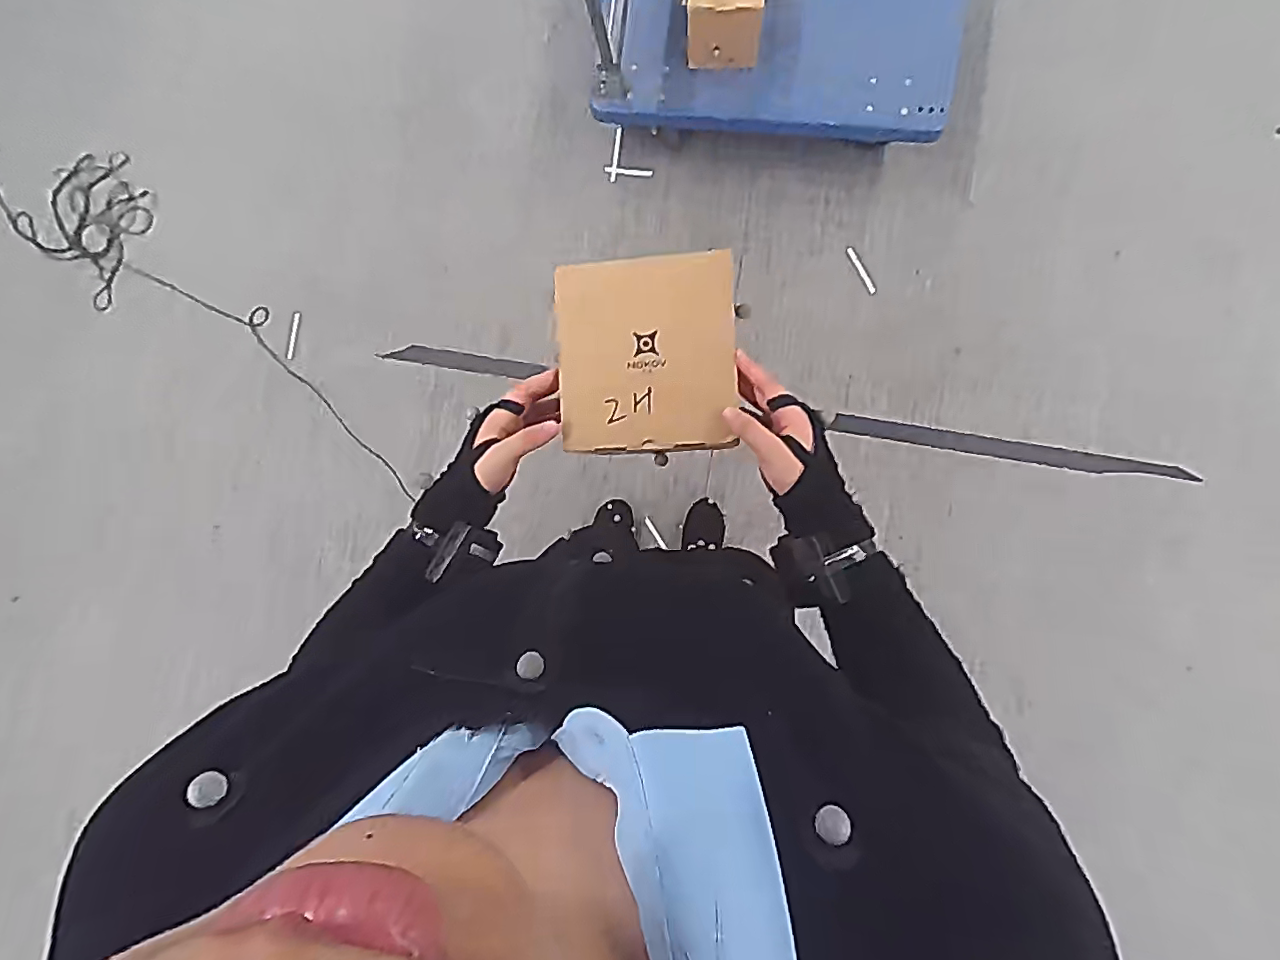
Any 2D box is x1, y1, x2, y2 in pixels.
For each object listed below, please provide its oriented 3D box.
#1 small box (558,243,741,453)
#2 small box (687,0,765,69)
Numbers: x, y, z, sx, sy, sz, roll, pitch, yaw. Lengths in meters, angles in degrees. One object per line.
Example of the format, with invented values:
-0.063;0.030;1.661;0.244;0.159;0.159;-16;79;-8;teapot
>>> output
0.017;-0.121;0.565;0.168;0.176;0.179;-2;91;9;small box
0.197;-1.091;1.236;0.168;0.176;0.179;4;90;5;small box
